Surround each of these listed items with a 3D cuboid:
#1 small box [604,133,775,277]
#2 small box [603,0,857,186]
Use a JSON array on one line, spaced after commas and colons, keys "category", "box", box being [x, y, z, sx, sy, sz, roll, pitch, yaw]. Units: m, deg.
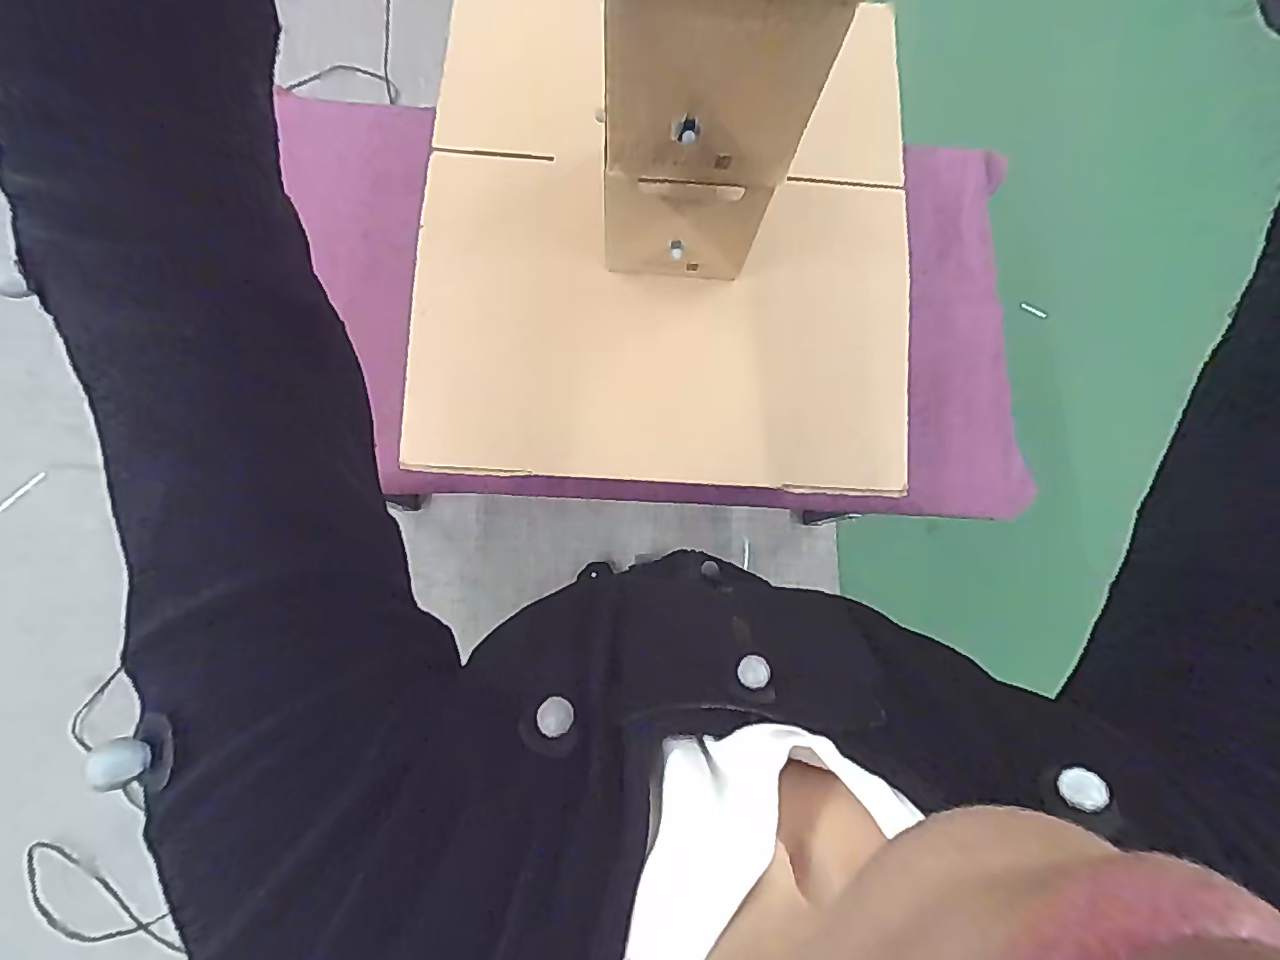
[{"category": "small box", "box": [0.047, -0.354, 0.597, 0.168, 0.176, 0.179, 3, 79, -2]}, {"category": "small box", "box": [0.056, -0.378, 0.436, 0.168, 0.176, 0.179, 2, 80, -3]}]
